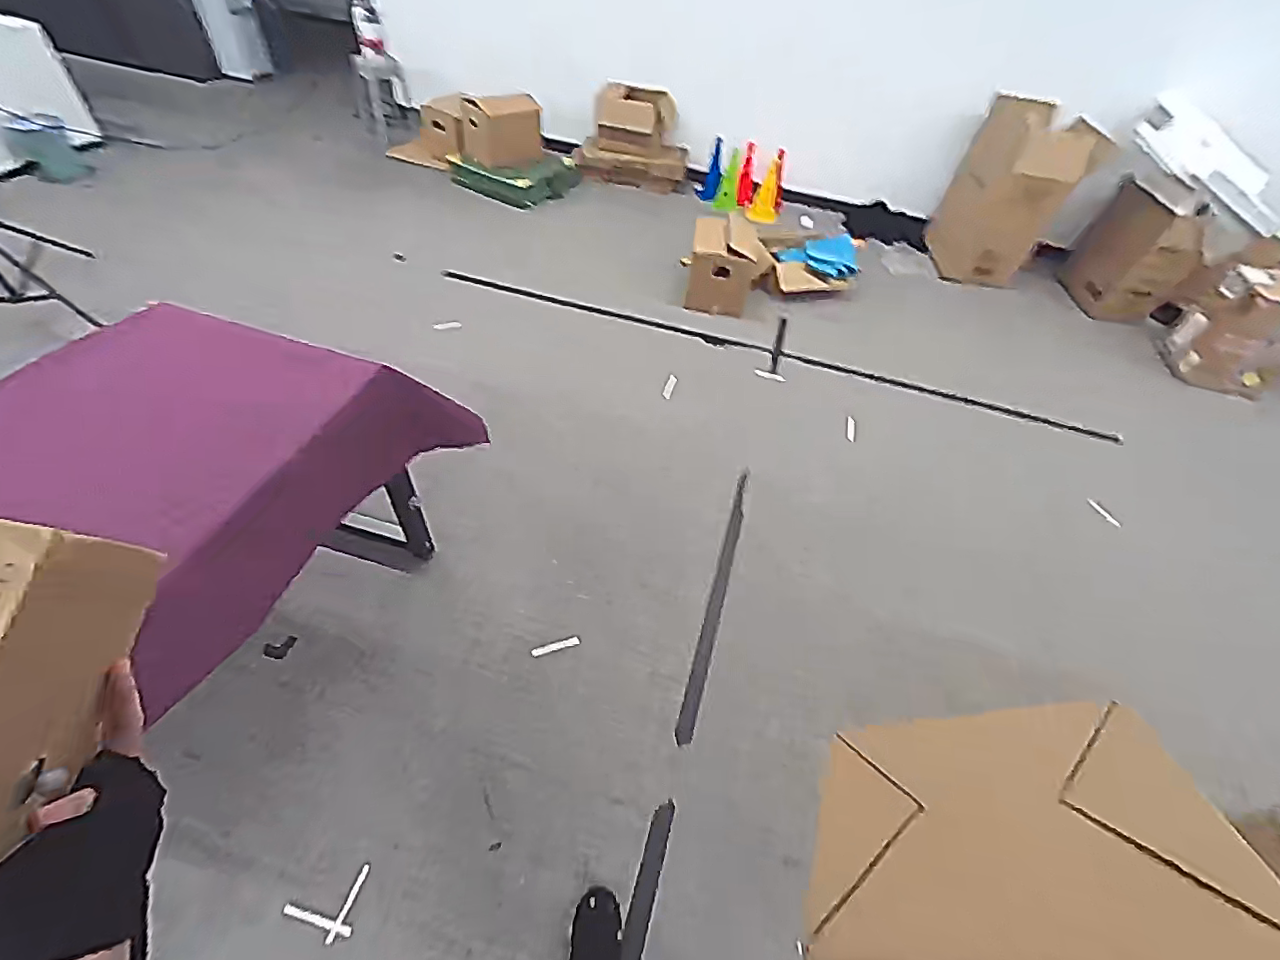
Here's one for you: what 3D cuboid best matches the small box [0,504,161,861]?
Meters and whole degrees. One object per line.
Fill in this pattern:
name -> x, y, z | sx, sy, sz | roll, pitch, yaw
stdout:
small box -> -0.375, 0.088, 0.255 | 0.168, 0.179, 0.176 | 15, 71, -25
